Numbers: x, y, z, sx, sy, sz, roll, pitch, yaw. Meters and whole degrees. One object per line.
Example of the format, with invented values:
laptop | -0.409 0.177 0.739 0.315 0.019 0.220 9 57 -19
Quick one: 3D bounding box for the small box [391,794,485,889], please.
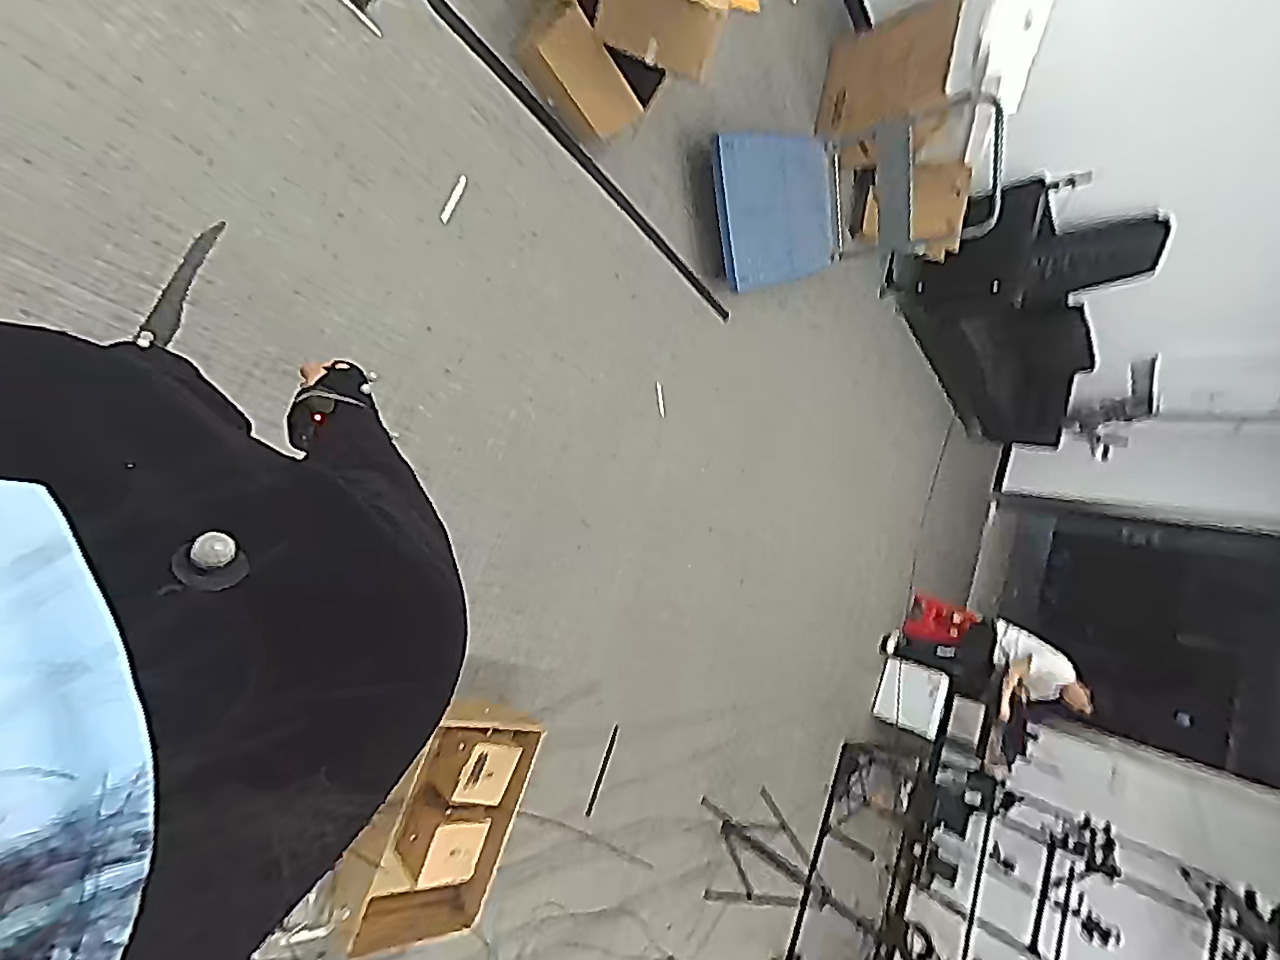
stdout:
small box | -0.591 1.038 1.569 0.179 0.176 0.168 28 77 -43
